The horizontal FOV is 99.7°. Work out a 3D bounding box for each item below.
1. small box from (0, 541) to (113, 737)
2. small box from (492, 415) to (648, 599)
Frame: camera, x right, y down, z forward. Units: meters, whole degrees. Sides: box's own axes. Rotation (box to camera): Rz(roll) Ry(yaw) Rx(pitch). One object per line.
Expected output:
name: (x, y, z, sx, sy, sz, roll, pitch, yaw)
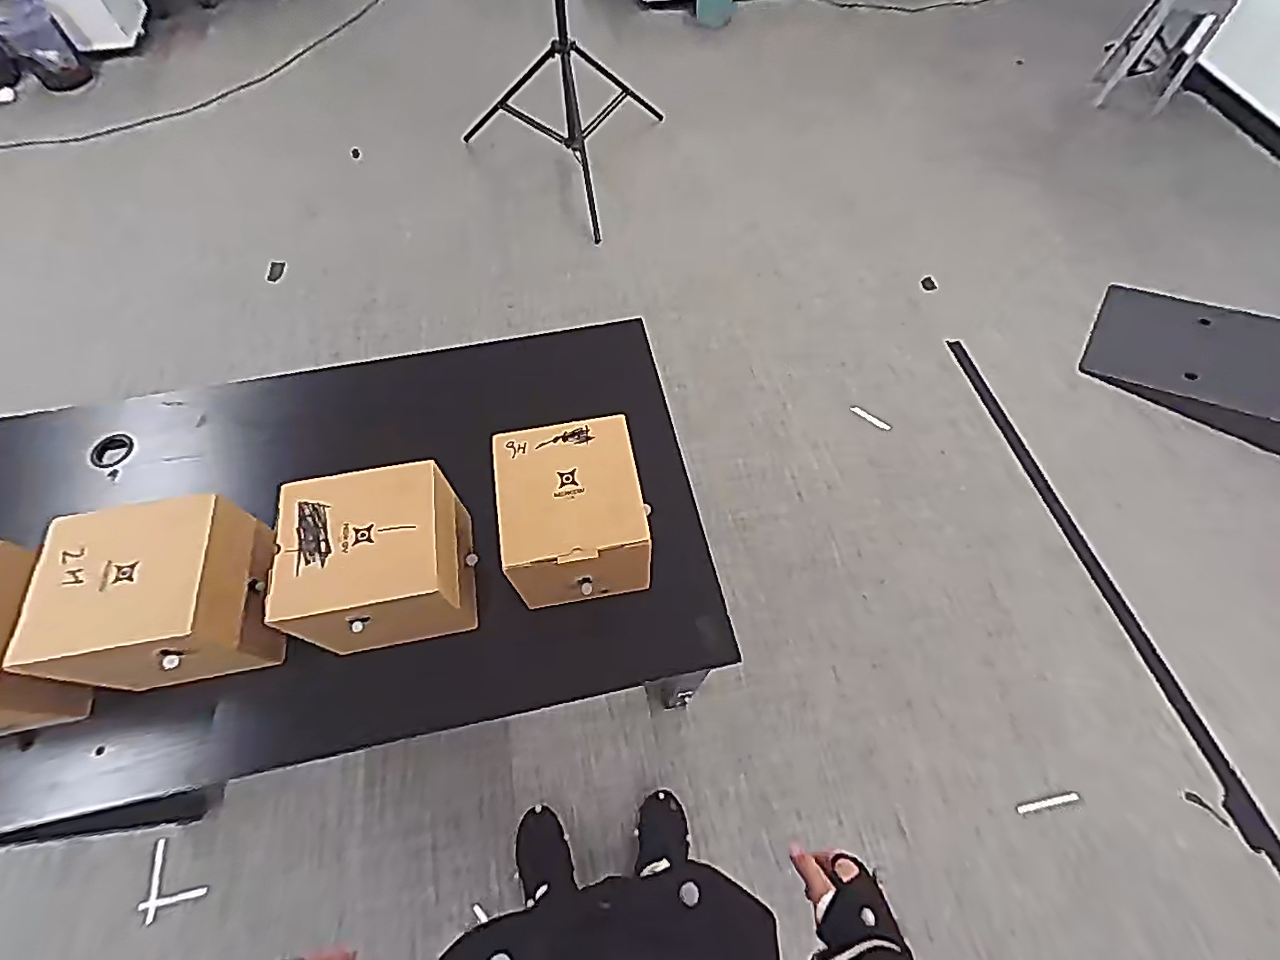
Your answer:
small box: (-0.760, 0.189, 0.609, 0.168, 0.176, 0.179, -11, 63, -5)
small box: (-0.084, 0.043, 0.688, 0.168, 0.176, 0.179, -9, 63, -6)
